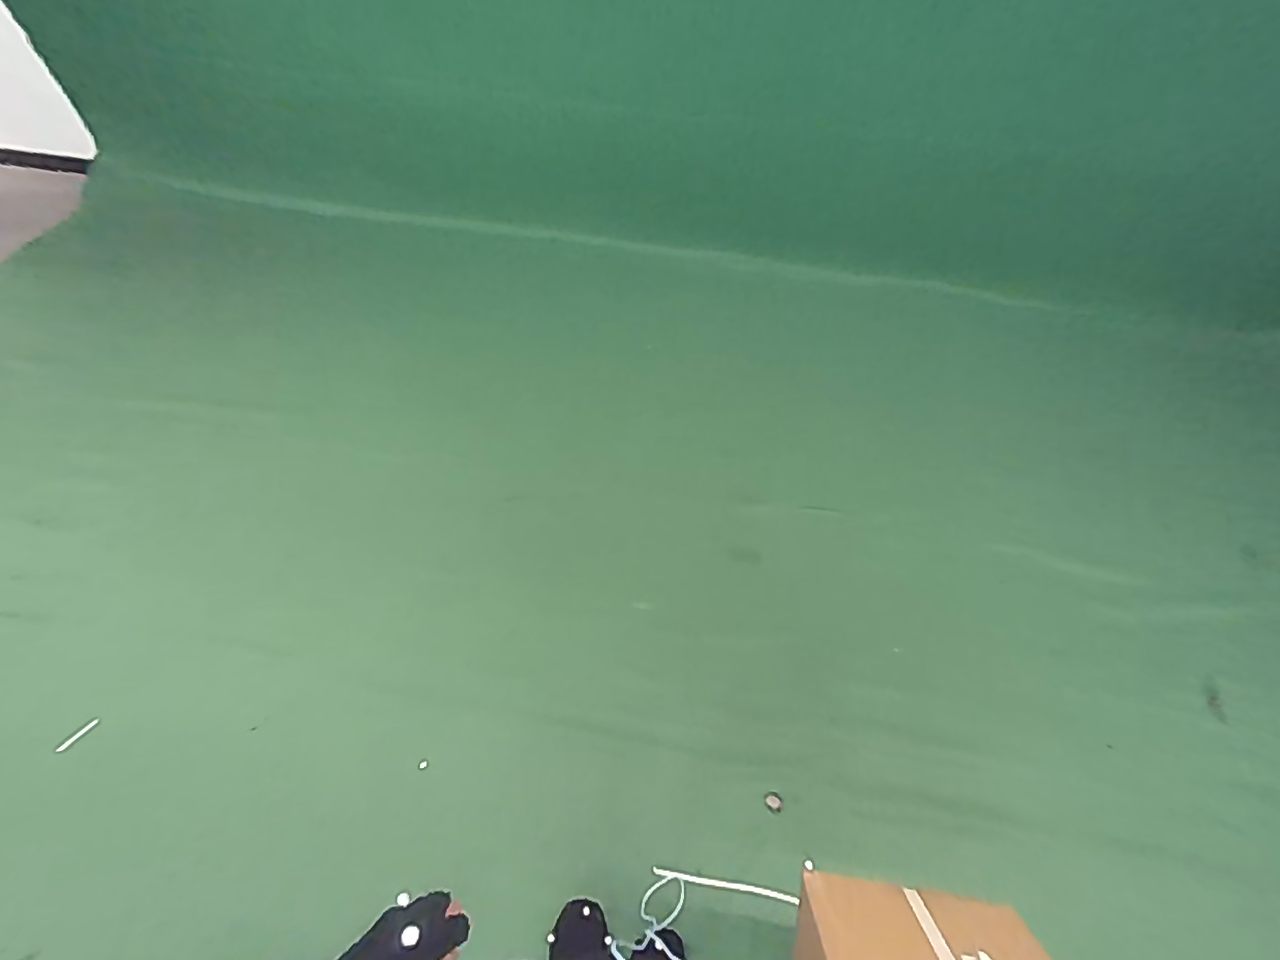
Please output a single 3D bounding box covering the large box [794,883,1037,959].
[{"bbox_3d":[0.367,0.787,0.625,0.320,0.408,0.320,8,90,5],"label":"large box"}]
